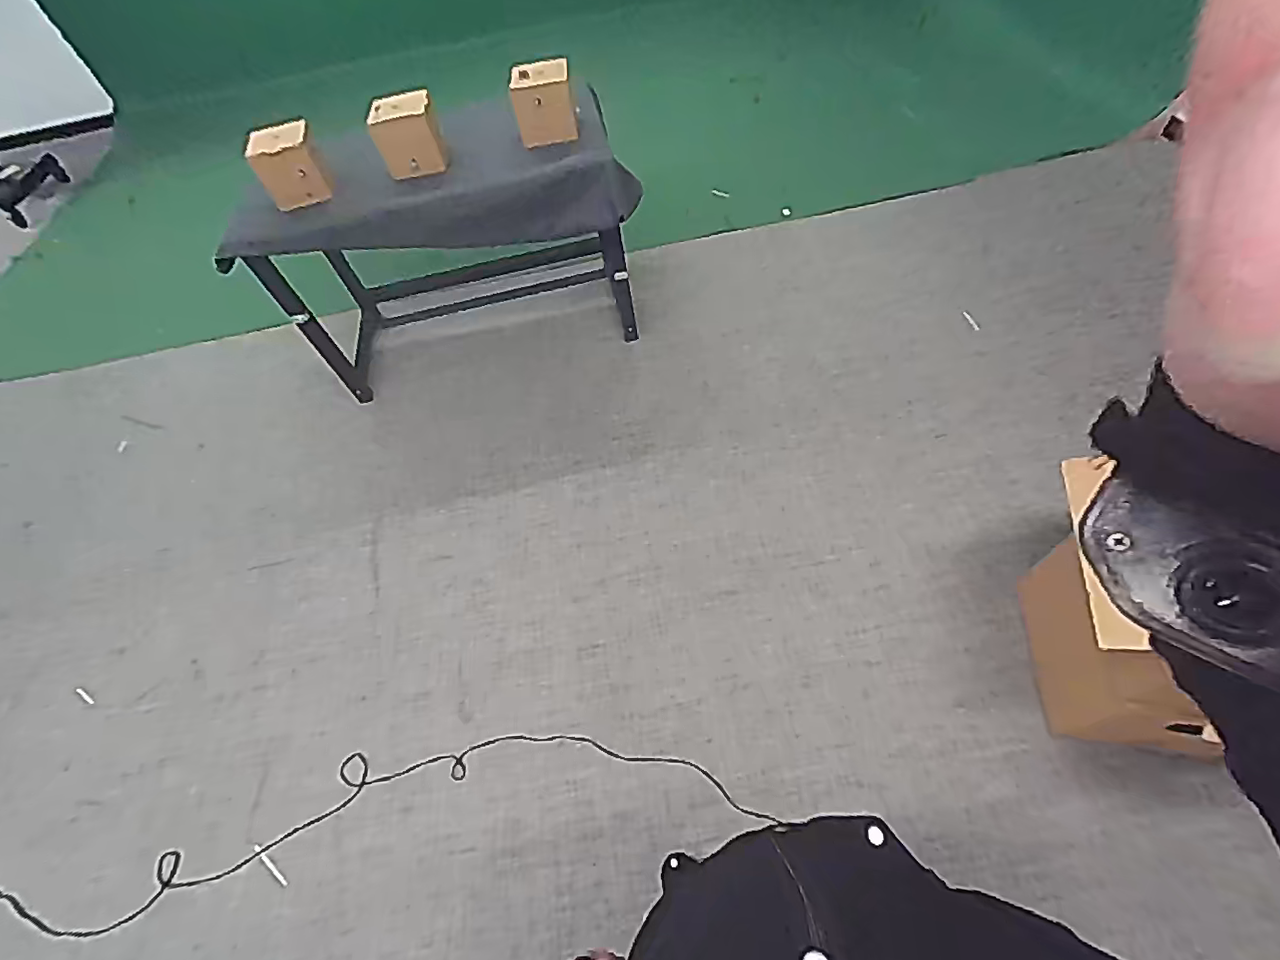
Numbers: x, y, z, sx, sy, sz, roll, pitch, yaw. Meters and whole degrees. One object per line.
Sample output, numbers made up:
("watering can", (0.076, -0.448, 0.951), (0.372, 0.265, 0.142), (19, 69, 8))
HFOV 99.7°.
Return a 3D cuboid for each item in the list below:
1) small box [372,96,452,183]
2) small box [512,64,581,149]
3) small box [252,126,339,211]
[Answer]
("small box", (-0.708, -1.067, 1.700), (0.179, 0.176, 0.168), (-10, 55, 1))
("small box", (-0.289, -1.174, 1.706), (0.179, 0.176, 0.168), (-7, 56, 3))
("small box", (-1.062, -0.961, 1.681), (0.168, 0.176, 0.179), (-18, 53, -6))
